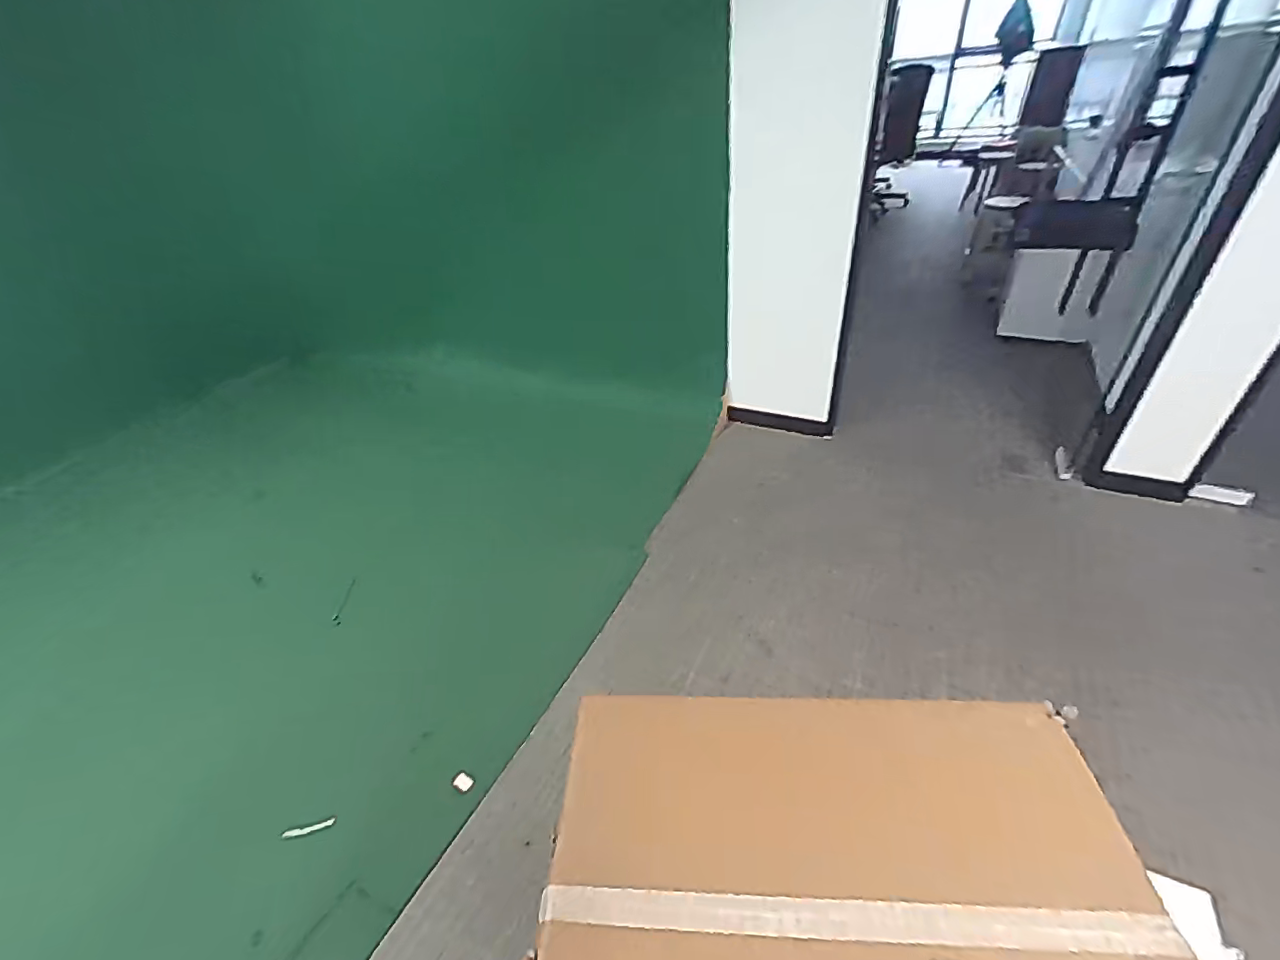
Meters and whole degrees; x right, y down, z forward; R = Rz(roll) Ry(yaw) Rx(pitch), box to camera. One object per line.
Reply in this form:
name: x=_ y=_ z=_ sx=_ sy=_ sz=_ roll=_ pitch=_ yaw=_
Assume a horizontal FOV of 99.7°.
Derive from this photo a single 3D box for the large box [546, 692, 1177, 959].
large box: x=0.145 y=0.404 z=0.460 sx=0.408 sy=0.320 sz=0.320 roll=-2 pitch=39 yaw=5
